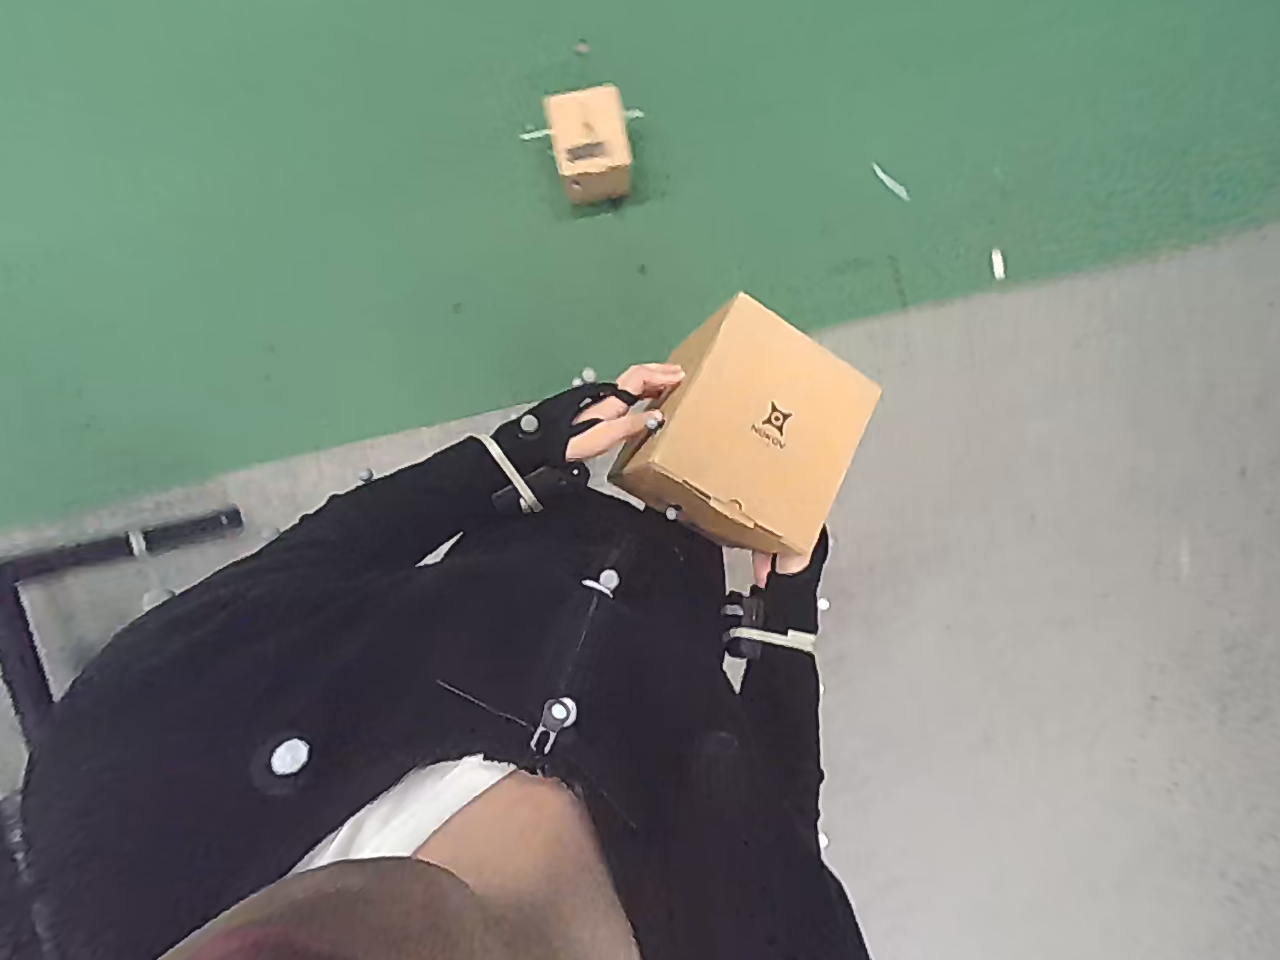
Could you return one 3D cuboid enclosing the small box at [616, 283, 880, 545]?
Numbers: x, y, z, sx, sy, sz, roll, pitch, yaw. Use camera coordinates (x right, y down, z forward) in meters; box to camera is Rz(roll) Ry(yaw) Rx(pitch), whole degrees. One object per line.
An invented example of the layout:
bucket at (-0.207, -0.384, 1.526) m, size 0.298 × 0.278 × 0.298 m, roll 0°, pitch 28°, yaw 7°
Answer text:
small box at (0.092, -0.051, 0.537) m, size 0.168 × 0.176 × 0.179 m, roll 28°, pitch 79°, yaw -12°
